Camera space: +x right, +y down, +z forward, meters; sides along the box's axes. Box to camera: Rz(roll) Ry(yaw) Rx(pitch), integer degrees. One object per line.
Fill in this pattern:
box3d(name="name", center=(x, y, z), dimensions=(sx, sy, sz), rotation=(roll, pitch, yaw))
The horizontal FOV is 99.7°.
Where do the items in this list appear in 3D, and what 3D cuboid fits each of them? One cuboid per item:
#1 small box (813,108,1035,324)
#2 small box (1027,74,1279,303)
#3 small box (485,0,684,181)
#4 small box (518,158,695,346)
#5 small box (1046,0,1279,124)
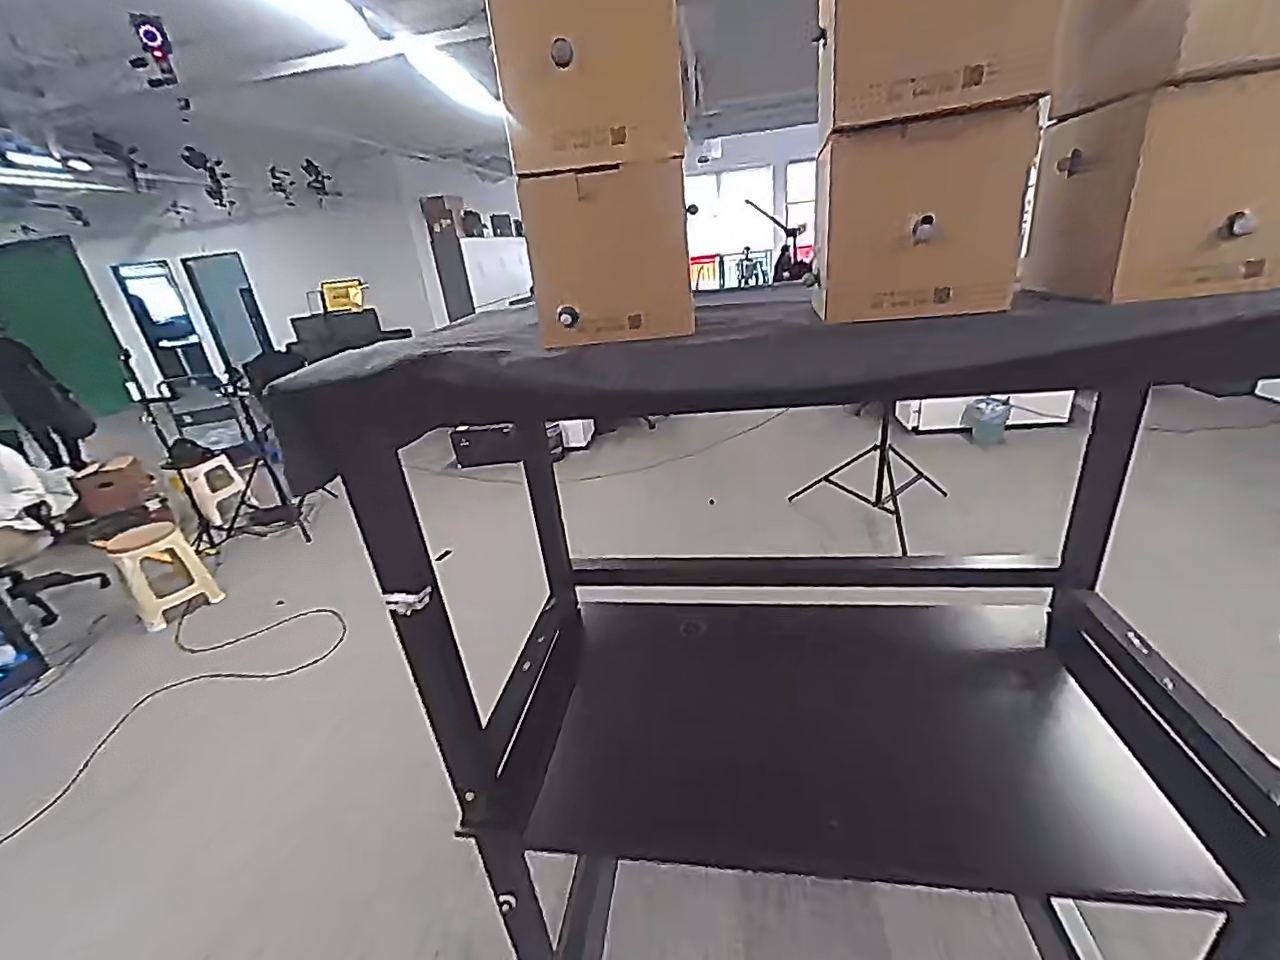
box3d(name="small box", center=(0.273, -0.259, 0.564), dimensions=(0.168, 0.176, 0.179), rotation=(0, 23, 13))
box3d(name="small box", center=(0.504, -0.266, 0.515), dimensions=(0.168, 0.176, 0.179), rotation=(-3, 23, 12))
box3d(name="small box", center=(-0.049, -0.401, 0.565), dimensions=(0.168, 0.176, 0.179), rotation=(-6, 22, 0))
box3d(name="small box", center=(-0.024, -0.253, 0.626), dimensions=(0.168, 0.176, 0.179), rotation=(-3, 22, 7))
box3d(name="small box", center=(0.486, -0.415, 0.440), dimensions=(0.179, 0.176, 0.168), rotation=(-3, 22, 7))
